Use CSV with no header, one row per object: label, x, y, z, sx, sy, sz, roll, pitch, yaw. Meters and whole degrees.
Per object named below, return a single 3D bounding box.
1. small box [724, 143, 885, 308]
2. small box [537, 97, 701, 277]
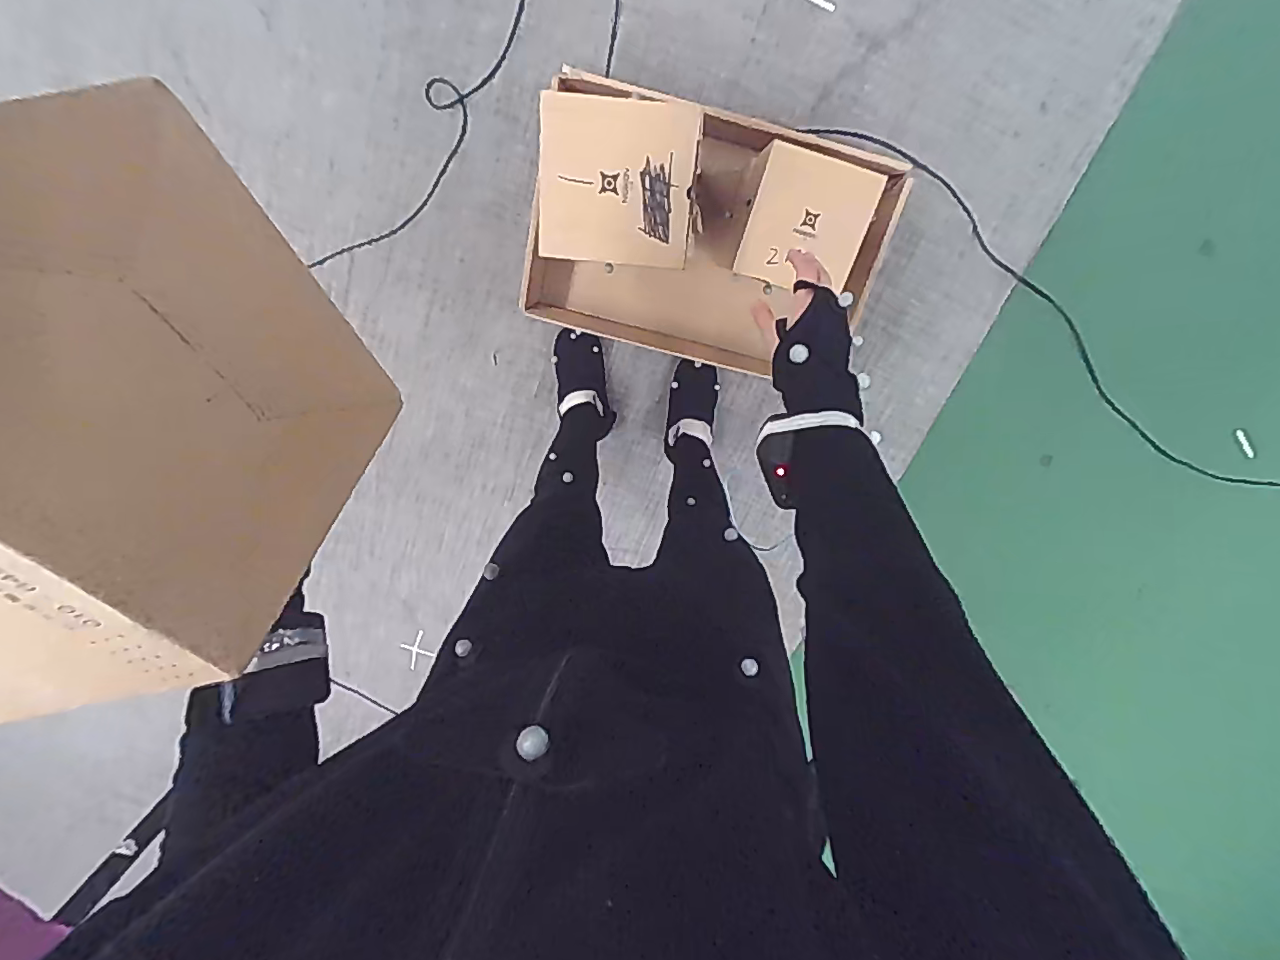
small box,0.236,-0.384,0.832,0.168,0.176,0.179,16,113,-4
small box,-0.027,-0.357,0.678,0.179,0.176,0.168,5,114,-1
